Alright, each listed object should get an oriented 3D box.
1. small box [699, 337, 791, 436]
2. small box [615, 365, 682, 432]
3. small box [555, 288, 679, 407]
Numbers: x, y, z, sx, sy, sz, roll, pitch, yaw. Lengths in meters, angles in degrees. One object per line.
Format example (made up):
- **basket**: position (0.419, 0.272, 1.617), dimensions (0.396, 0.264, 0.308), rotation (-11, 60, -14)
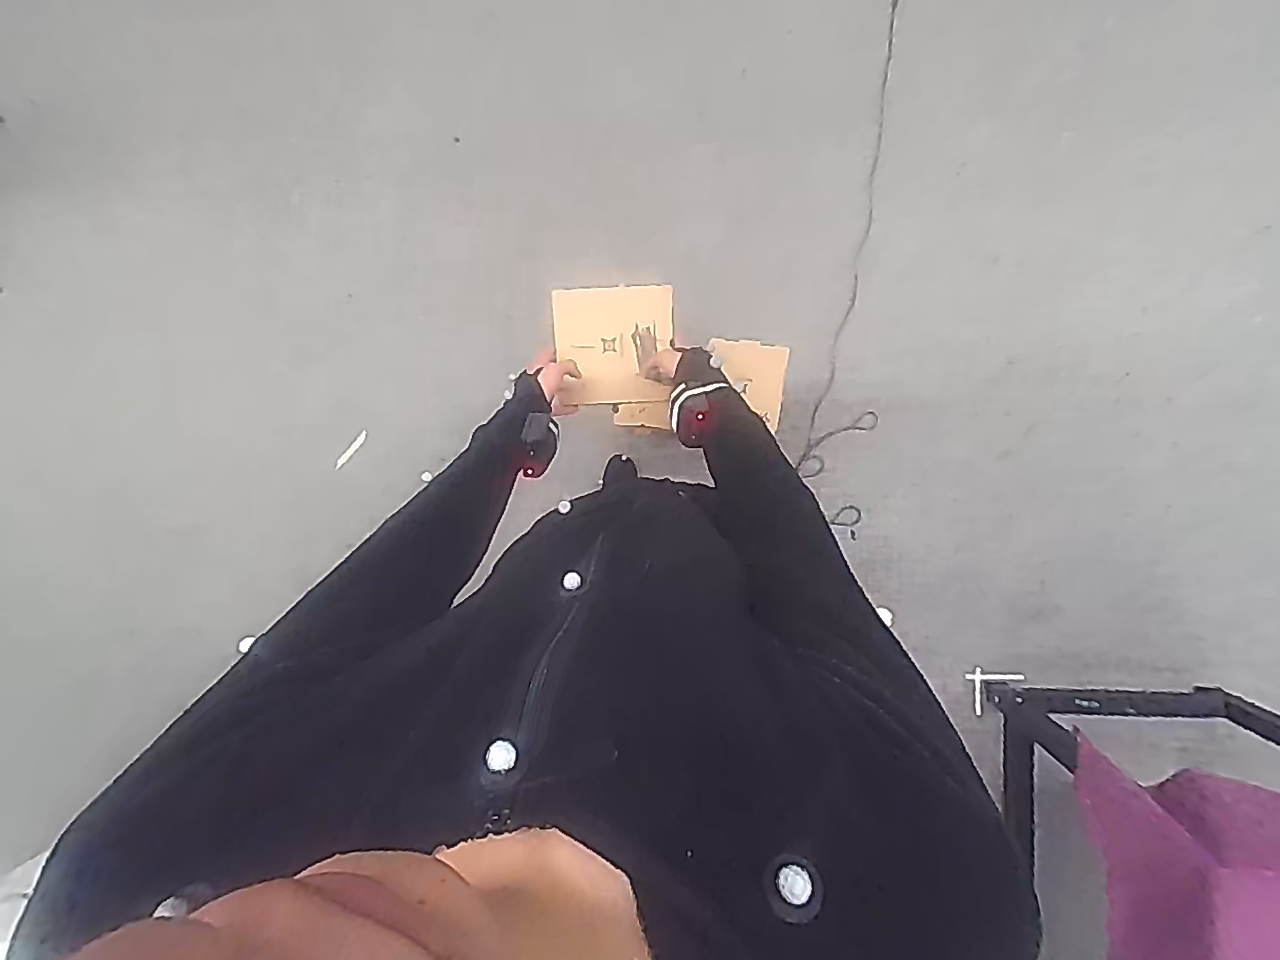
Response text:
- **small box**: position (0.224, -0.199, 1.187), dimensions (0.168, 0.176, 0.179), rotation (9, 92, 8)
- **small box**: position (0.029, -0.234, 1.541), dimensions (0.168, 0.176, 0.179), rotation (5, 93, 8)
- **small box**: position (-0.033, -0.203, 0.861), dimensions (0.179, 0.176, 0.168), rotation (-2, 97, 2)
